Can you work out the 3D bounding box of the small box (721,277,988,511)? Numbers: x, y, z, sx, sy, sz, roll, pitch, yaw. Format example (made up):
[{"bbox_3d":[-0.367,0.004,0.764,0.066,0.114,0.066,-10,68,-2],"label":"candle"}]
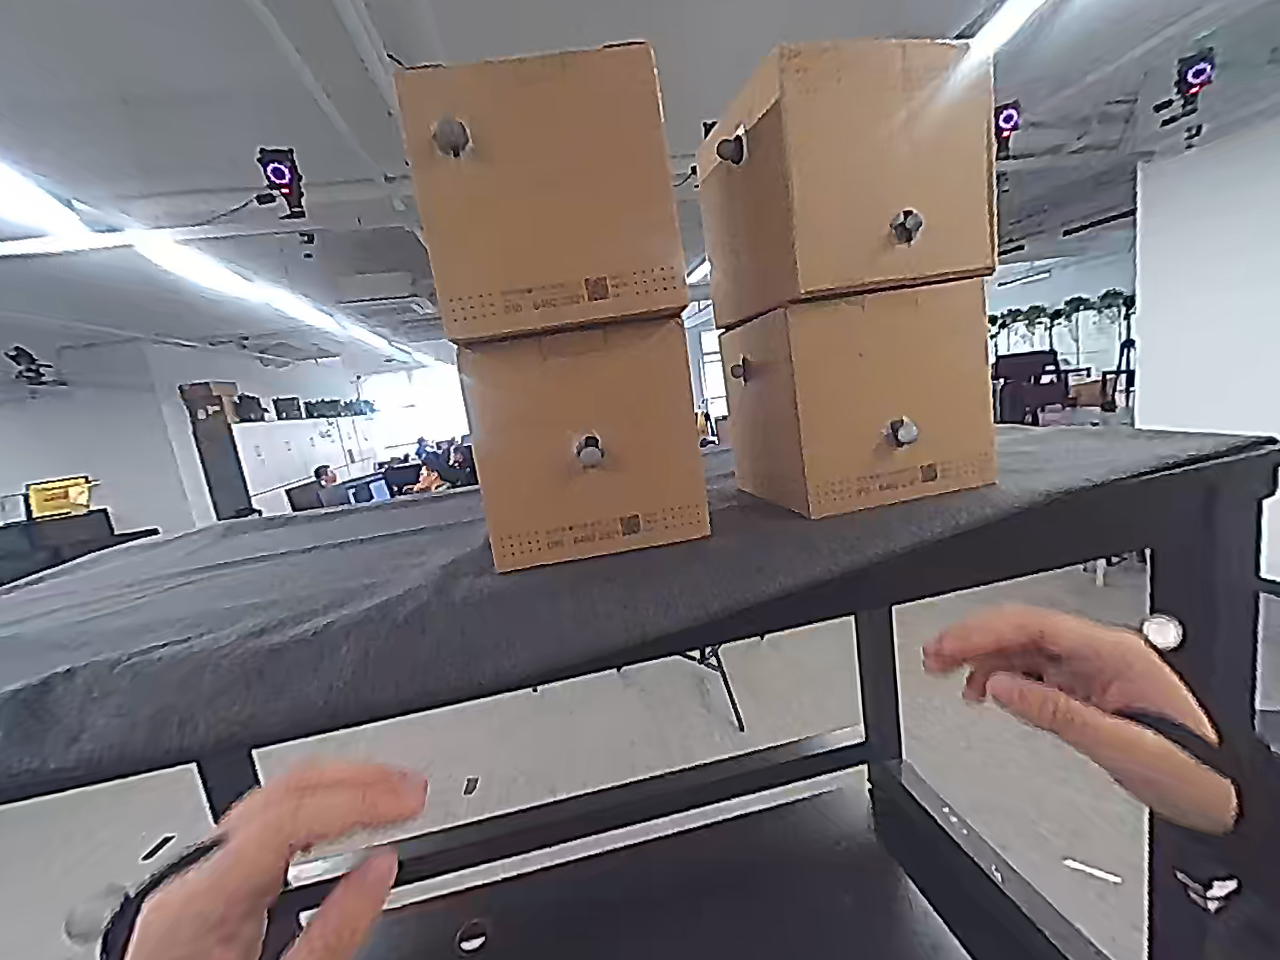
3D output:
[{"bbox_3d":[0.186,-0.074,0.503,0.168,0.176,0.179,-11,9,-7],"label":"small box"}]

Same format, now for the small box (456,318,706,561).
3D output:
[{"bbox_3d":[-0.046,-0.034,0.474,0.168,0.176,0.179,-9,9,-6],"label":"small box"}]

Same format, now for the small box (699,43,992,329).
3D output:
[{"bbox_3d":[0.164,-0.236,0.466,0.179,0.176,0.168,-10,8,-12],"label":"small box"}]
